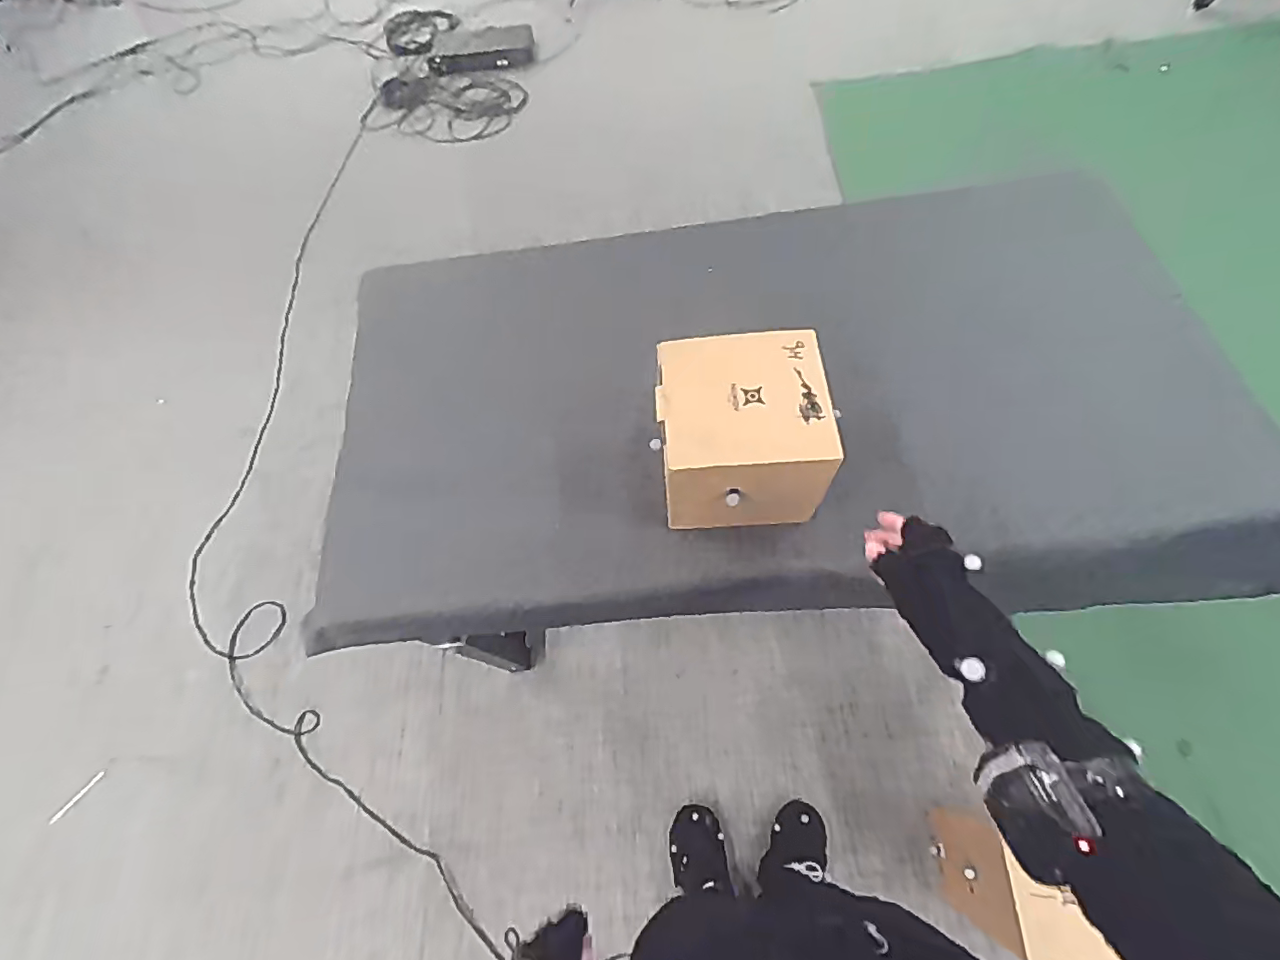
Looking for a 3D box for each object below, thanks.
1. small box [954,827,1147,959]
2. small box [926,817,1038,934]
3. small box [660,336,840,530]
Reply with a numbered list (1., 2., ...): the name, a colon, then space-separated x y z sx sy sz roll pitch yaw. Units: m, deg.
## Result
1. small box: 0.646 0.670 0.873 0.179 0.176 0.168 0 63 6
2. small box: 0.671 0.743 1.019 0.179 0.176 0.168 0 63 7
3. small box: 0.118 -0.046 0.640 0.179 0.176 0.168 -3 63 4
